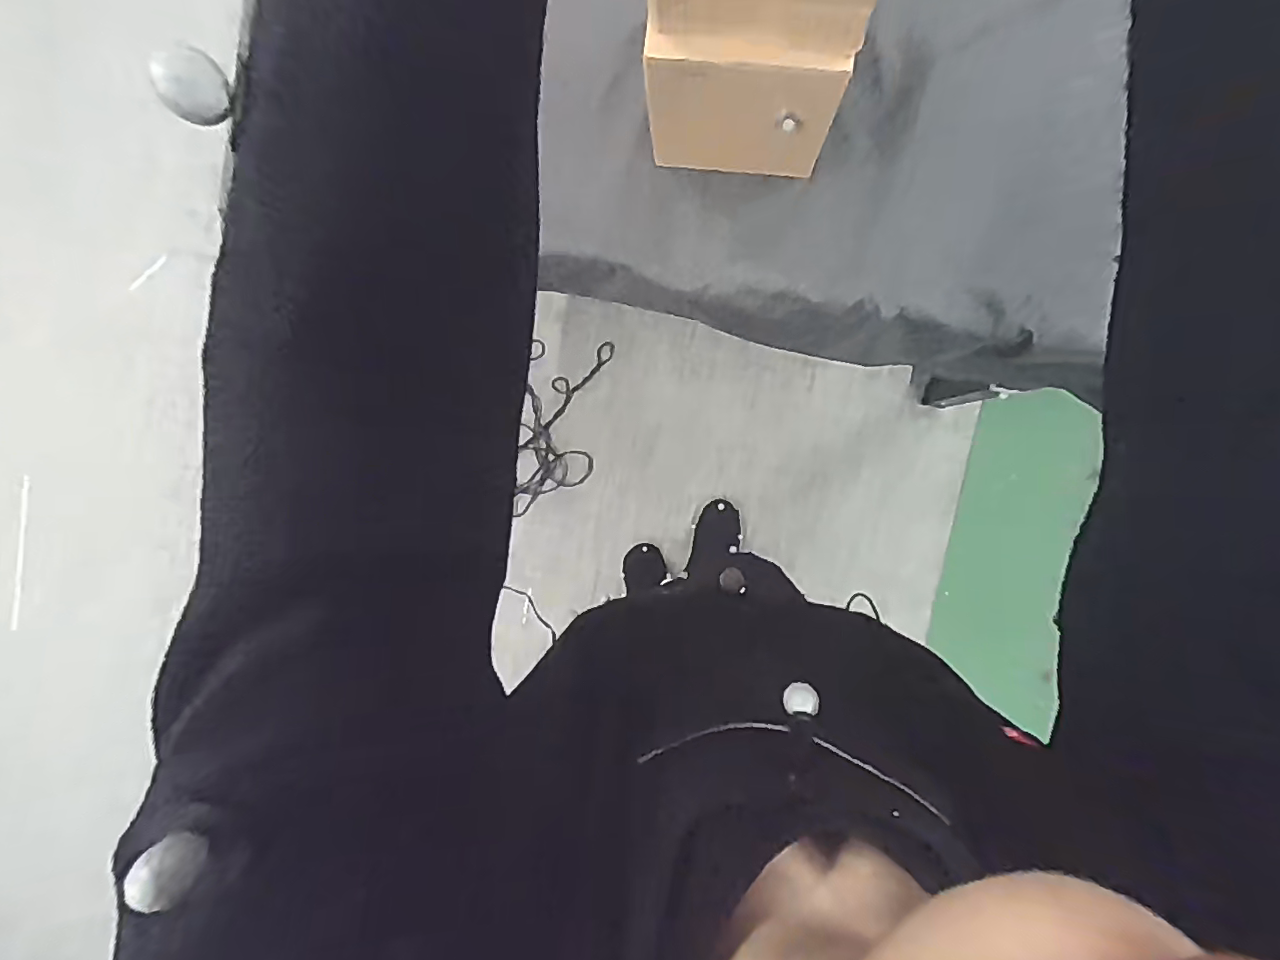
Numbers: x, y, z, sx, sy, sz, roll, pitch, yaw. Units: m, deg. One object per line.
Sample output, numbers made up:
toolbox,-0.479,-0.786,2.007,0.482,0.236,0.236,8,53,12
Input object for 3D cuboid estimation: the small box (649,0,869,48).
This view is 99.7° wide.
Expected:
small box,0.097,-0.437,0.361,0.179,0.176,0.168,11,92,4
